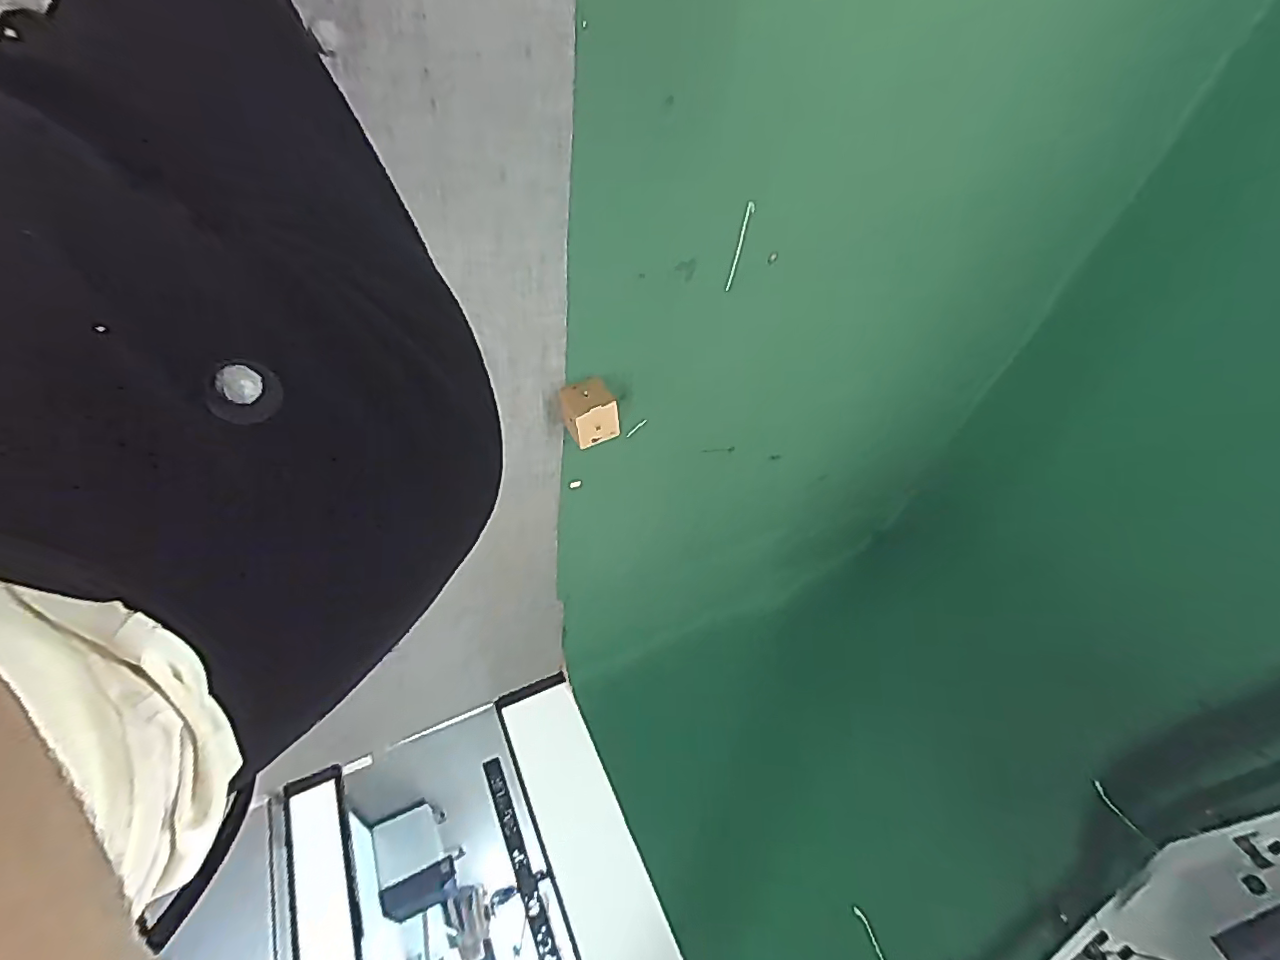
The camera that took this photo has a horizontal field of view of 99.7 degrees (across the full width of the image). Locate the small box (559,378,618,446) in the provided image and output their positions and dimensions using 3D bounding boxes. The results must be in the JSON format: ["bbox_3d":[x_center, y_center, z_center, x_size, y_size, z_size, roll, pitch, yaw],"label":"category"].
[{"bbox_3d":[-0.196,-0.264,2.040,0.168,0.176,0.179,-22,142,-15],"label":"small box"}]
